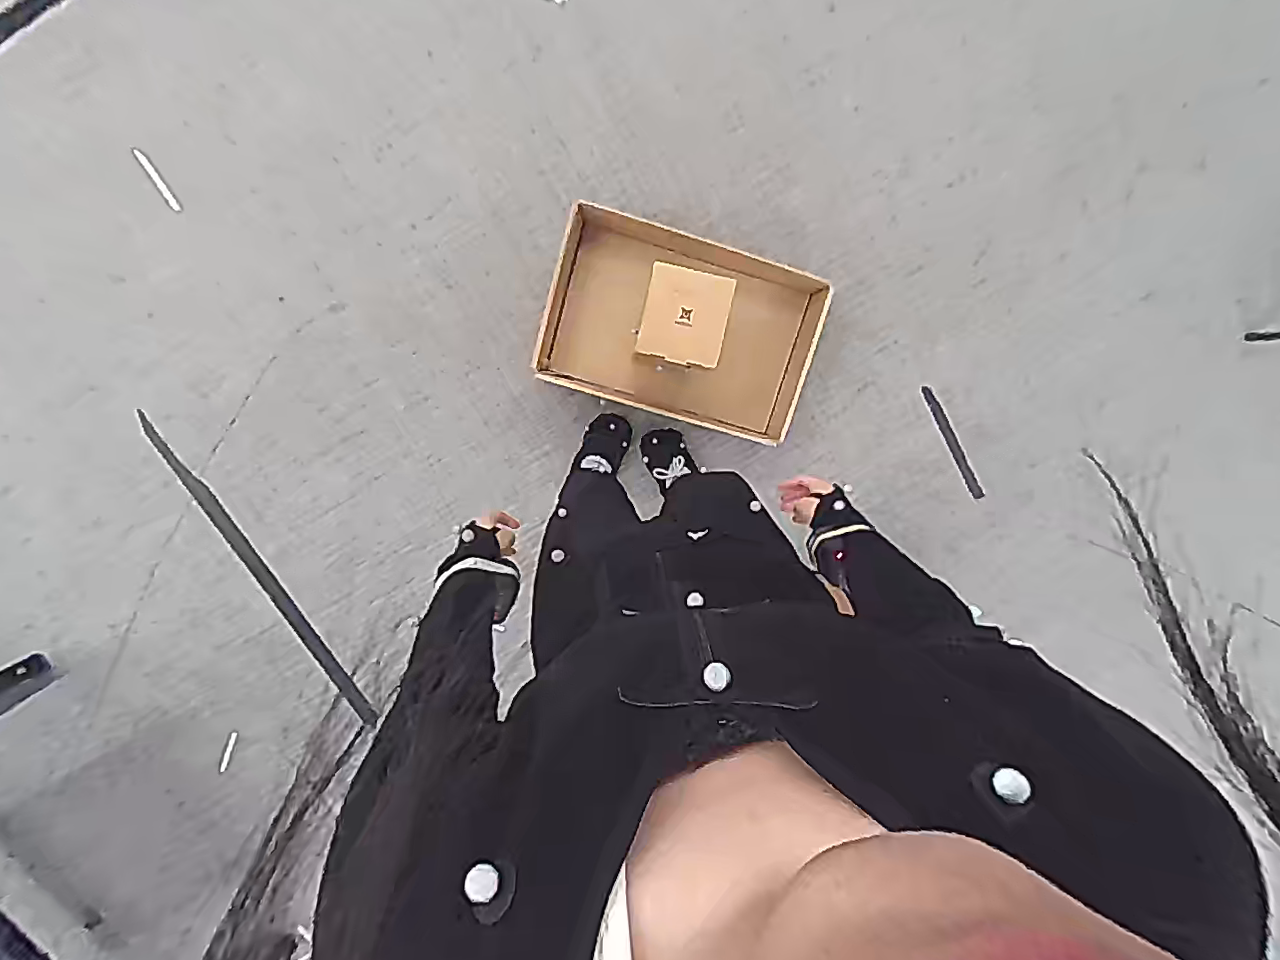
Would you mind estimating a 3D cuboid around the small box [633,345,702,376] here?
[{"bbox_3d":[0.081,-0.355,1.292,0.168,0.176,0.179,16,100,-5],"label":"small box"}]

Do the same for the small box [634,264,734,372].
[{"bbox_3d":[0.082,-0.328,1.132,0.168,0.176,0.179,11,99,-5],"label":"small box"}]
